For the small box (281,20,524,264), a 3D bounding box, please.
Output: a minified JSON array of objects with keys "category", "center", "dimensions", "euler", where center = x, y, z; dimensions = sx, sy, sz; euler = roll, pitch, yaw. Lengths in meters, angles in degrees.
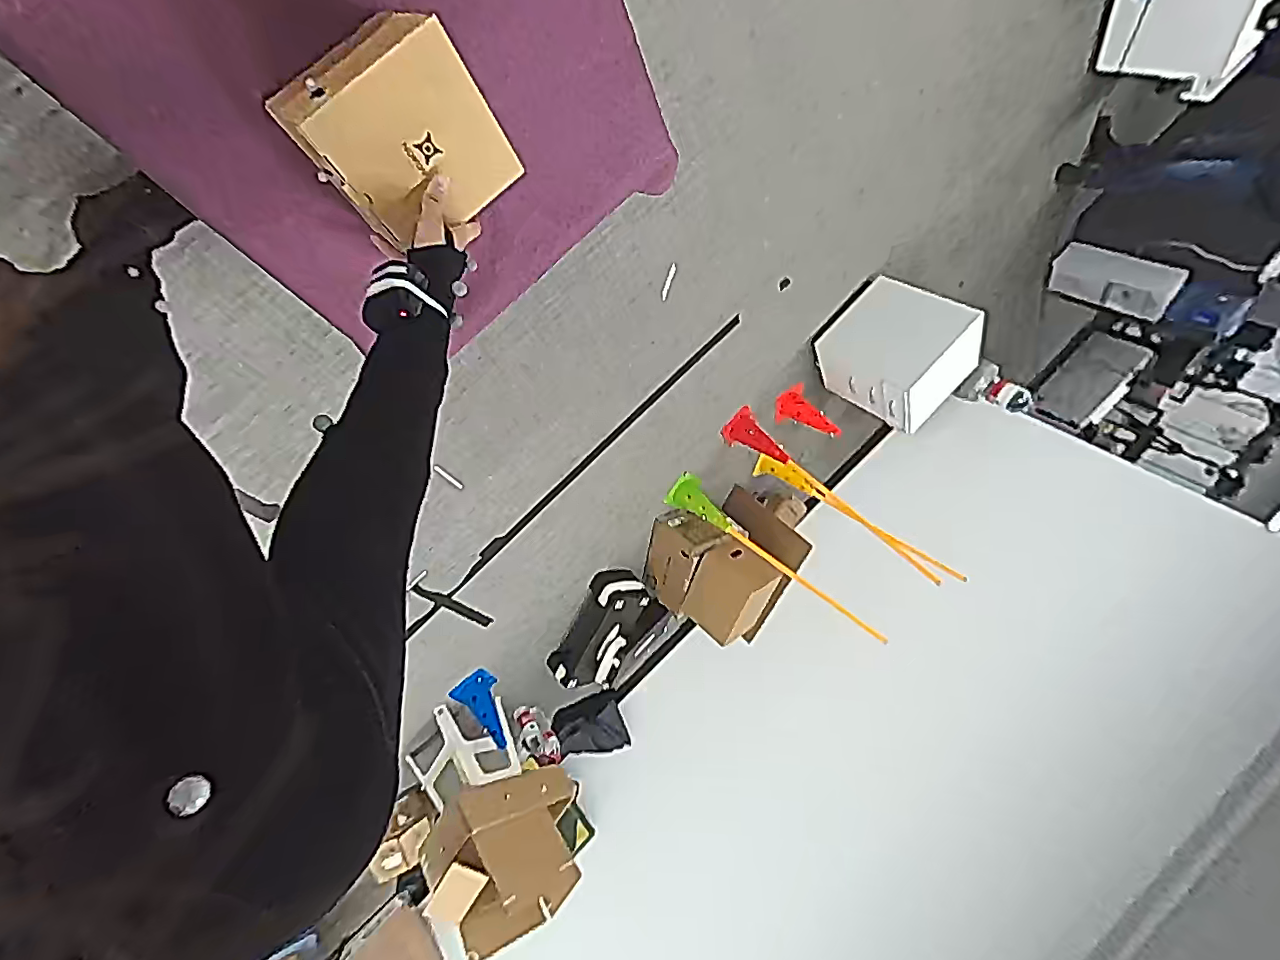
[{"category":"small box","center":[-0.276,-0.395,0.629],"dimensions":[0.179,0.176,0.168],"euler":[-44,143,-5]}]
